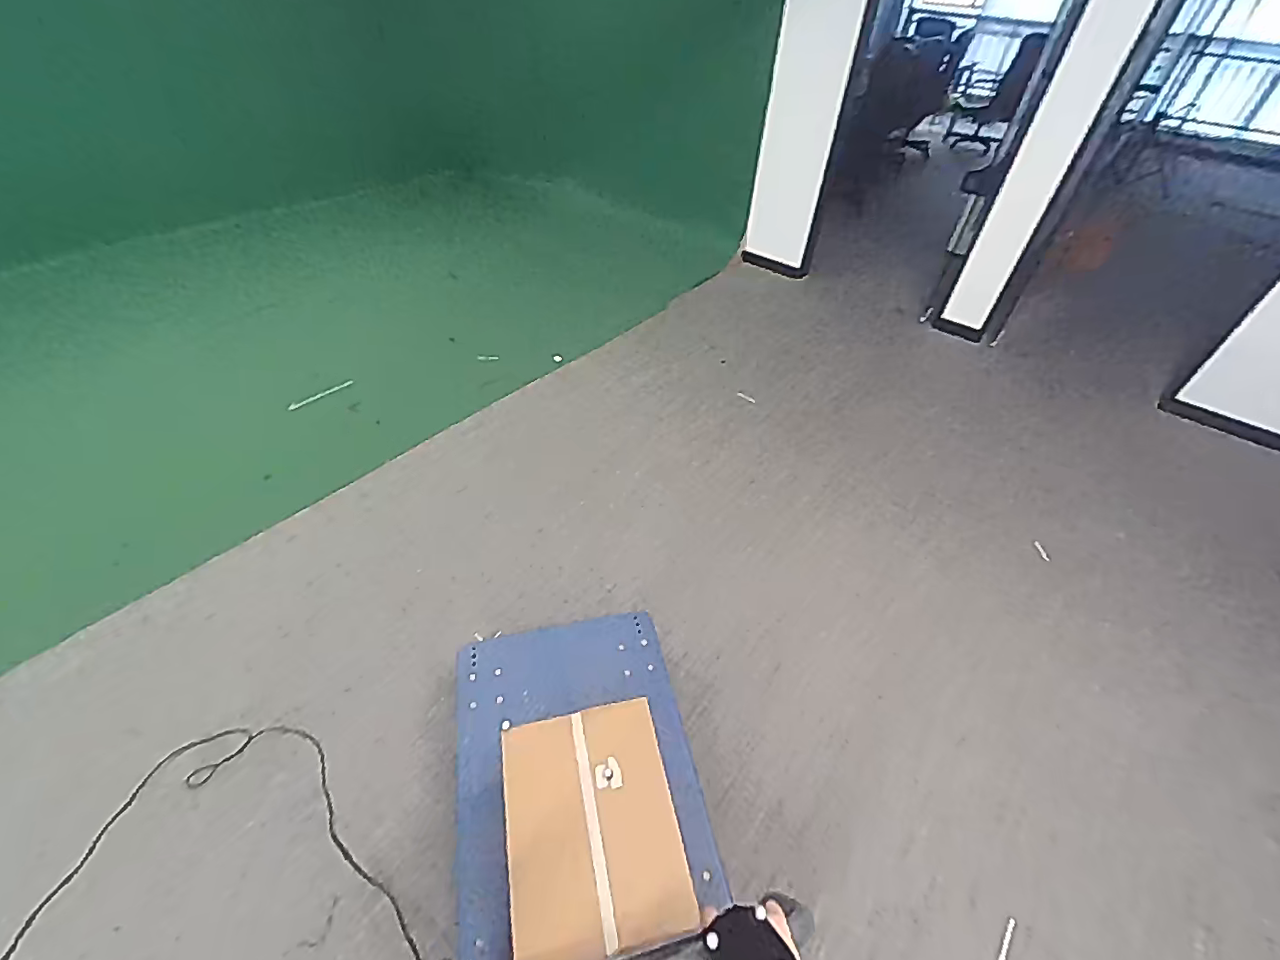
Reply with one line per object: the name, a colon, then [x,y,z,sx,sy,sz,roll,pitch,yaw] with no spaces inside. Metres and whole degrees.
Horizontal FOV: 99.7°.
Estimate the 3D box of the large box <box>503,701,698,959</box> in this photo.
large box: [-0.096,0.751,1.132,0.320,0.320,0.408,-8,45,-11]
